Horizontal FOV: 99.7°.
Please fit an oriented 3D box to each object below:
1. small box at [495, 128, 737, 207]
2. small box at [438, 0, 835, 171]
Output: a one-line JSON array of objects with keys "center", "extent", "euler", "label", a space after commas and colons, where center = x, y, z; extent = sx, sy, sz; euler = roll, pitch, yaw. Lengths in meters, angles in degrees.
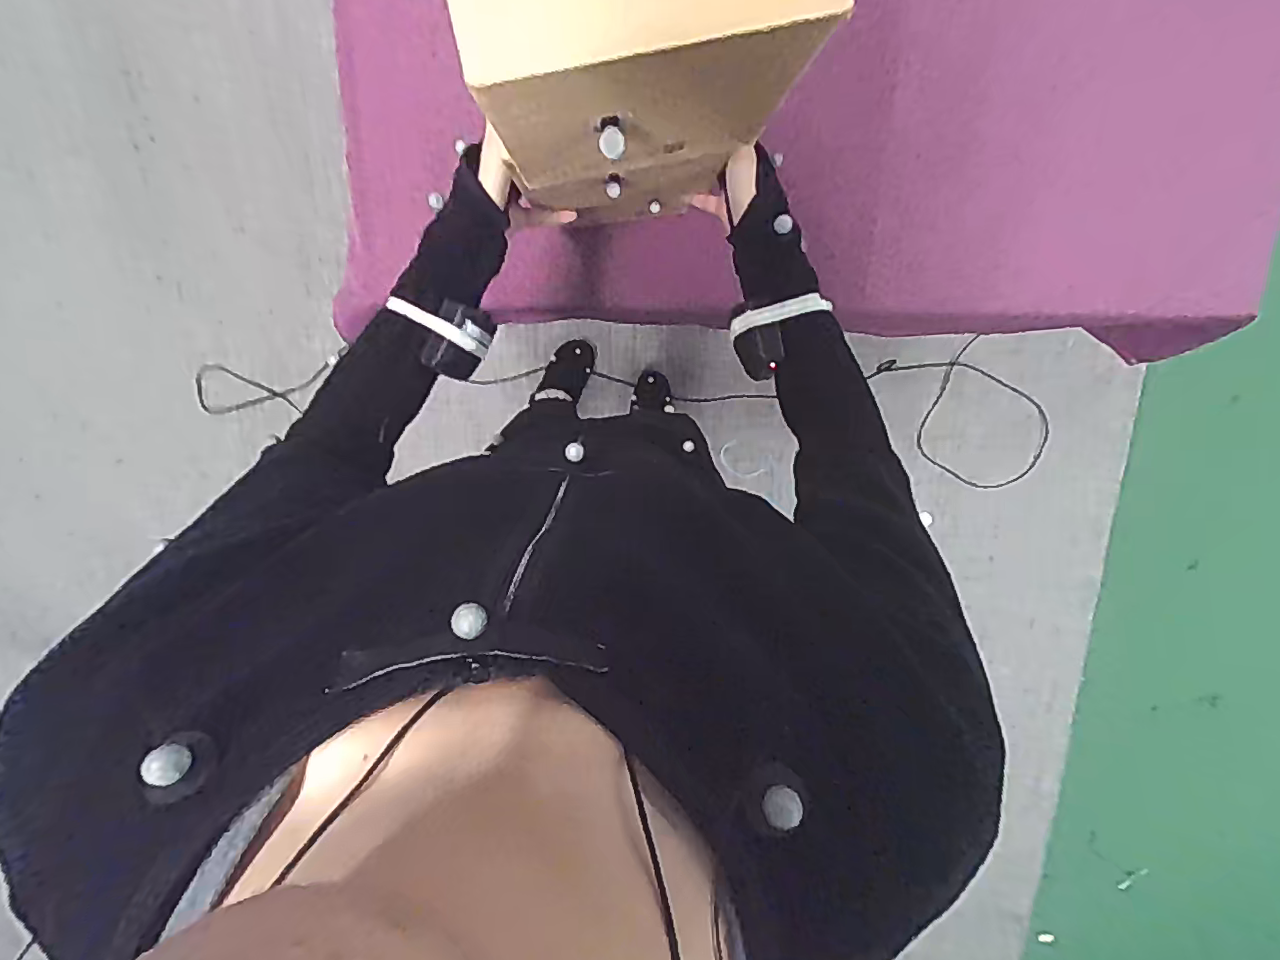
[{"center": [-0.023, -0.334, 0.433], "extent": [0.179, 0.176, 0.168], "euler": [-7, 104, 2], "label": "small box"}, {"center": [-0.013, -0.282, 0.279], "extent": [0.168, 0.176, 0.179], "euler": [-10, 104, 1], "label": "small box"}]
